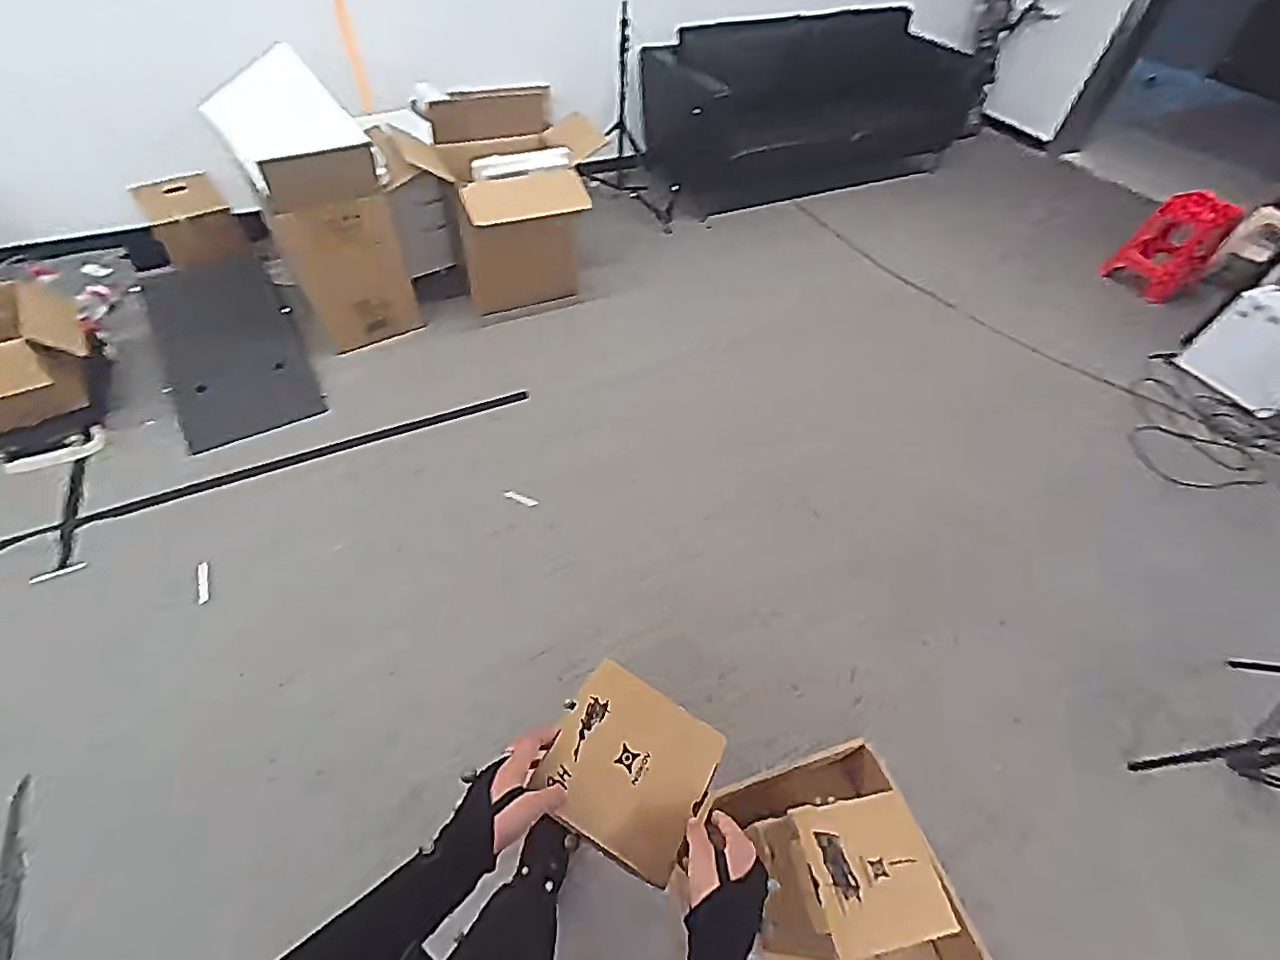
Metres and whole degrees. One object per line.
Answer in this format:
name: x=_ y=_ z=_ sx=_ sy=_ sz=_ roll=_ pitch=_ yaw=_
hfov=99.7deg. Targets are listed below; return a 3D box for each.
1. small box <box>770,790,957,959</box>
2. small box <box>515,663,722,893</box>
small box: x=0.304 y=0.573 z=0.787 sx=0.179 sy=0.176 sz=0.168 roll=-5 pitch=52 yaw=-10
small box: x=-0.034 y=0.355 z=0.663 sx=0.179 sy=0.176 sz=0.168 roll=33 pitch=57 yaw=4
